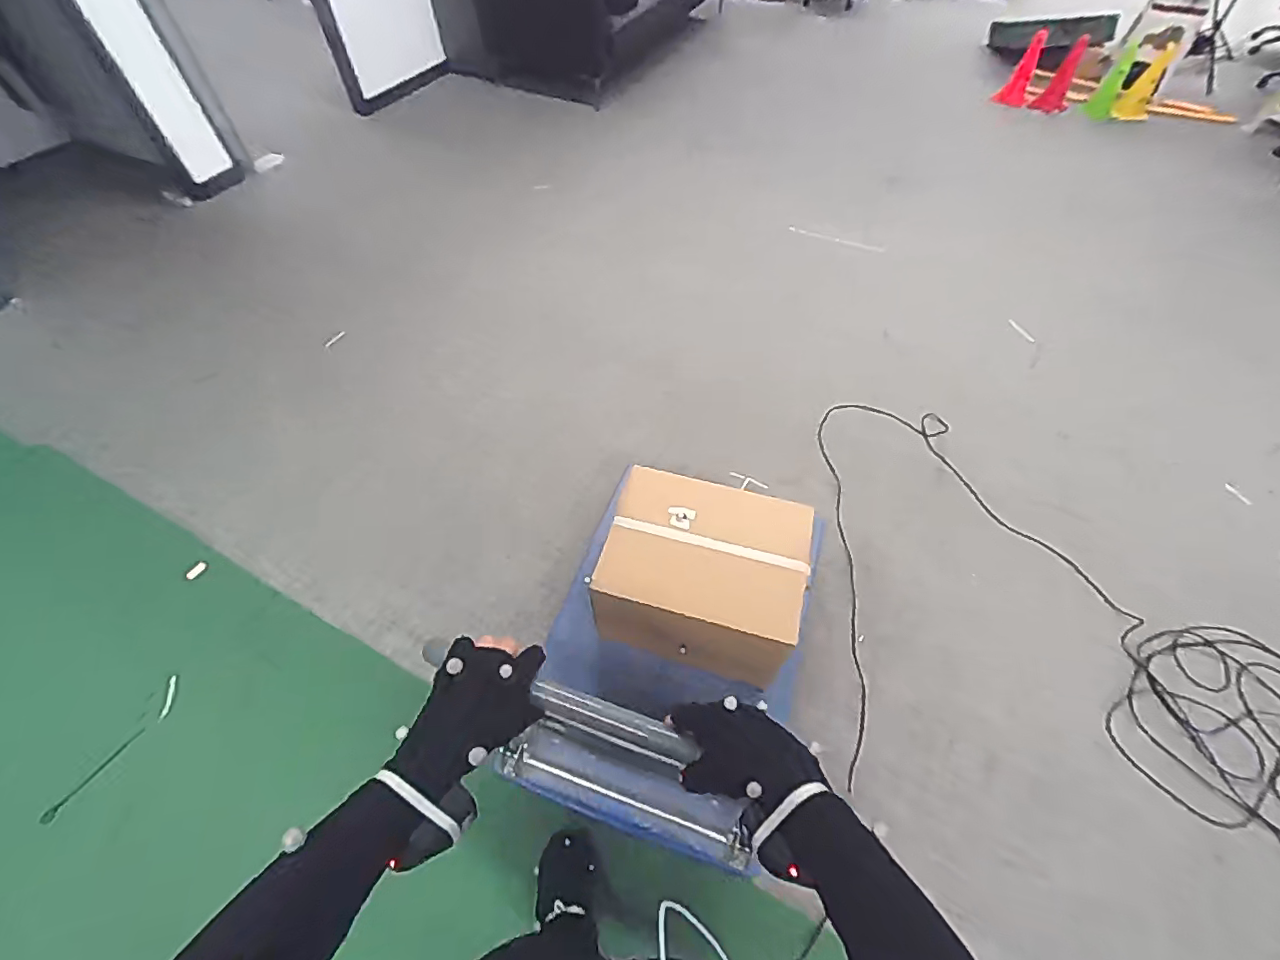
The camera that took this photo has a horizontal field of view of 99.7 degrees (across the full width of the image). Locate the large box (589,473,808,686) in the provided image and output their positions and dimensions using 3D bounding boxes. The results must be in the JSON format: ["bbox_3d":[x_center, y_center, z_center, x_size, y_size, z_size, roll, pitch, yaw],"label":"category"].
[{"bbox_3d":[0.133,0.229,1.223,0.408,0.320,0.320,13,55,10],"label":"large box"}]
